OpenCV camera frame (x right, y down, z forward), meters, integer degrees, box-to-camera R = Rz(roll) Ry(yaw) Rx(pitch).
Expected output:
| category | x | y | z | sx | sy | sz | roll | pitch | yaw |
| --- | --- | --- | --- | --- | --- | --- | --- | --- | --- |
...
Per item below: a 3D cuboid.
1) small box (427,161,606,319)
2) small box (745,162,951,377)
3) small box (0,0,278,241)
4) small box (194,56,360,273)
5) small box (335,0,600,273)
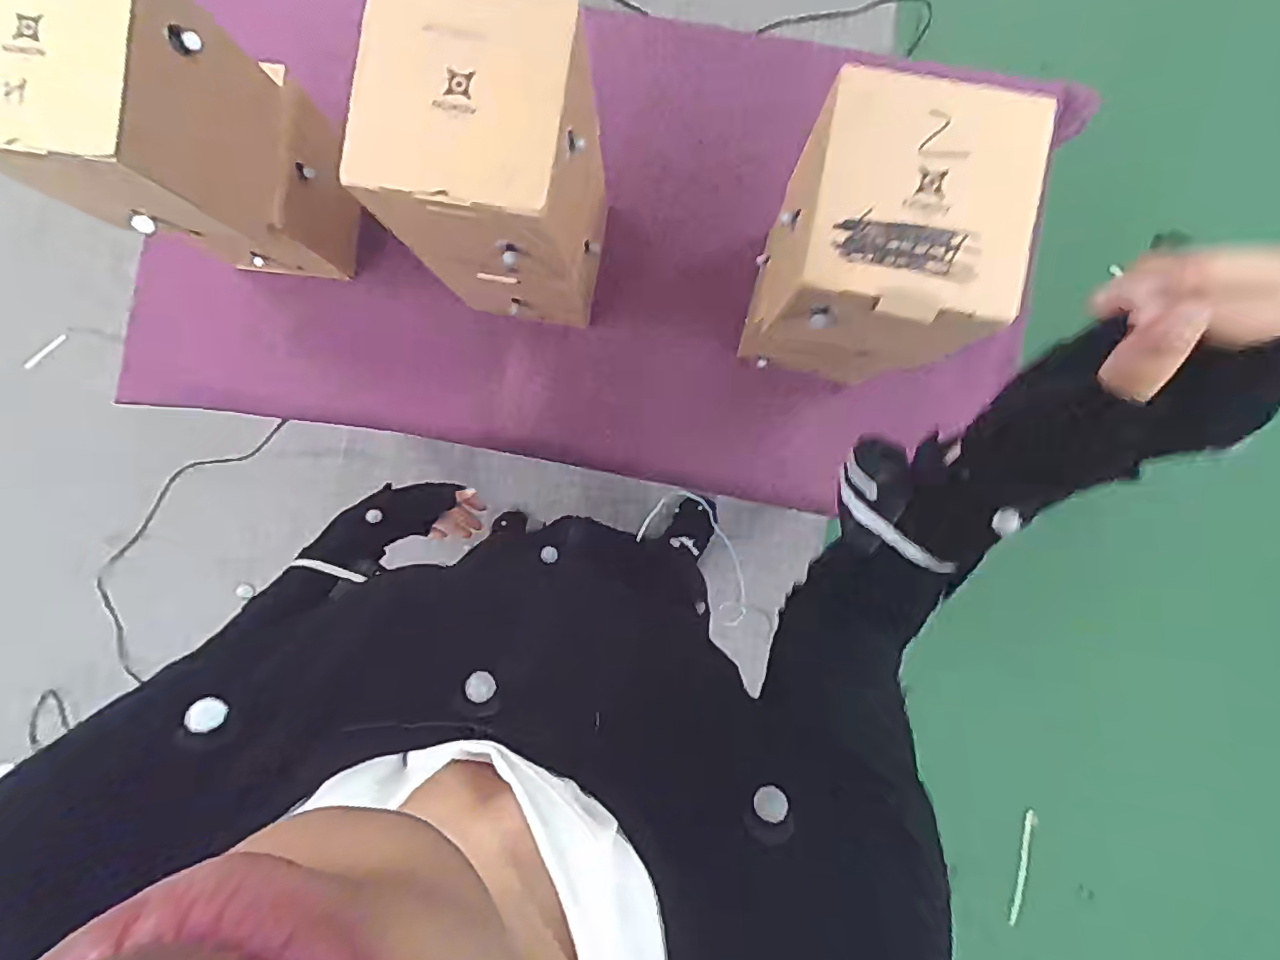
| category | x | y | z | sx | sy | sz | roll | pitch | yaw |
| --- | --- | --- | --- | --- | --- | --- | --- | --- | --- |
| small box | -0.138 | -0.311 | 0.664 | 0.168 | 0.176 | 0.179 | 7 | 90 | 2 |
| small box | 0.234 | -0.237 | 0.658 | 0.168 | 0.176 | 0.179 | 15 | 90 | 1 |
| small box | -0.474 | -0.351 | 0.501 | 0.168 | 0.176 | 0.179 | 7 | 92 | 1 |
| small box | -0.468 | -0.378 | 0.665 | 0.168 | 0.176 | 0.179 | 5 | 92 | 0 |
| small box | -0.134 | -0.305 | 0.481 | 0.168 | 0.176 | 0.179 | 10 | 91 | 1 |
